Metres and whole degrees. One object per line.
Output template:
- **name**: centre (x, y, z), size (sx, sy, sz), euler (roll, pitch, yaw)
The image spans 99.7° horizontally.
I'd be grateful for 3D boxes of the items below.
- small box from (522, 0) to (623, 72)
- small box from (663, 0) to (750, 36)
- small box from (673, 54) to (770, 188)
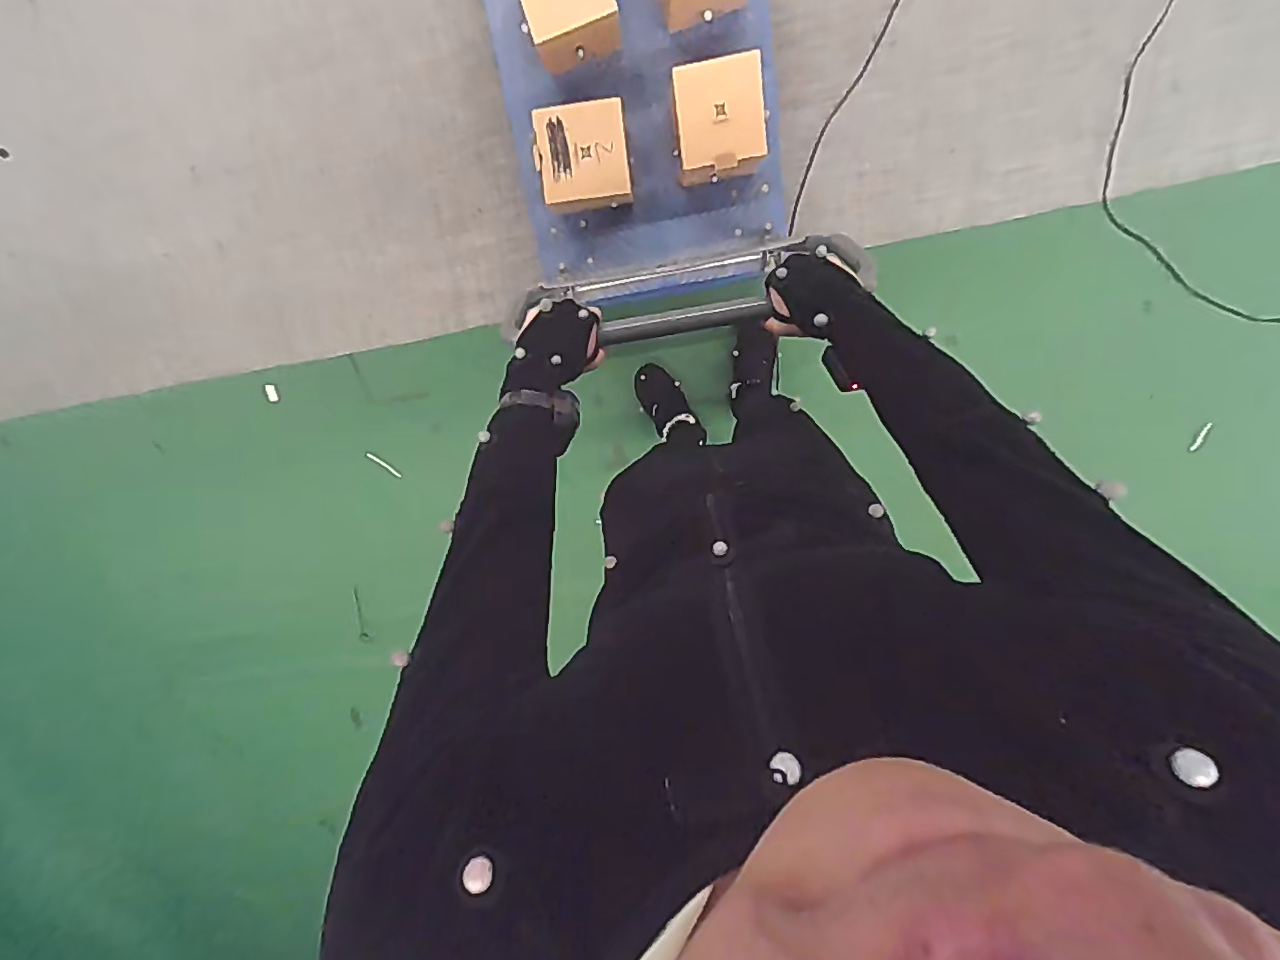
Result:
- **small box**: centre (-0.135, -0.926, 1.040), size (0.168, 0.176, 0.179), euler (-16, 108, 7)
- **small box**: centre (0.116, -0.988, 1.009), size (0.168, 0.176, 0.179), euler (-15, 109, 8)
- **small box**: centre (0.161, -0.722, 1.106), size (0.168, 0.176, 0.179), euler (-9, 109, 5)
